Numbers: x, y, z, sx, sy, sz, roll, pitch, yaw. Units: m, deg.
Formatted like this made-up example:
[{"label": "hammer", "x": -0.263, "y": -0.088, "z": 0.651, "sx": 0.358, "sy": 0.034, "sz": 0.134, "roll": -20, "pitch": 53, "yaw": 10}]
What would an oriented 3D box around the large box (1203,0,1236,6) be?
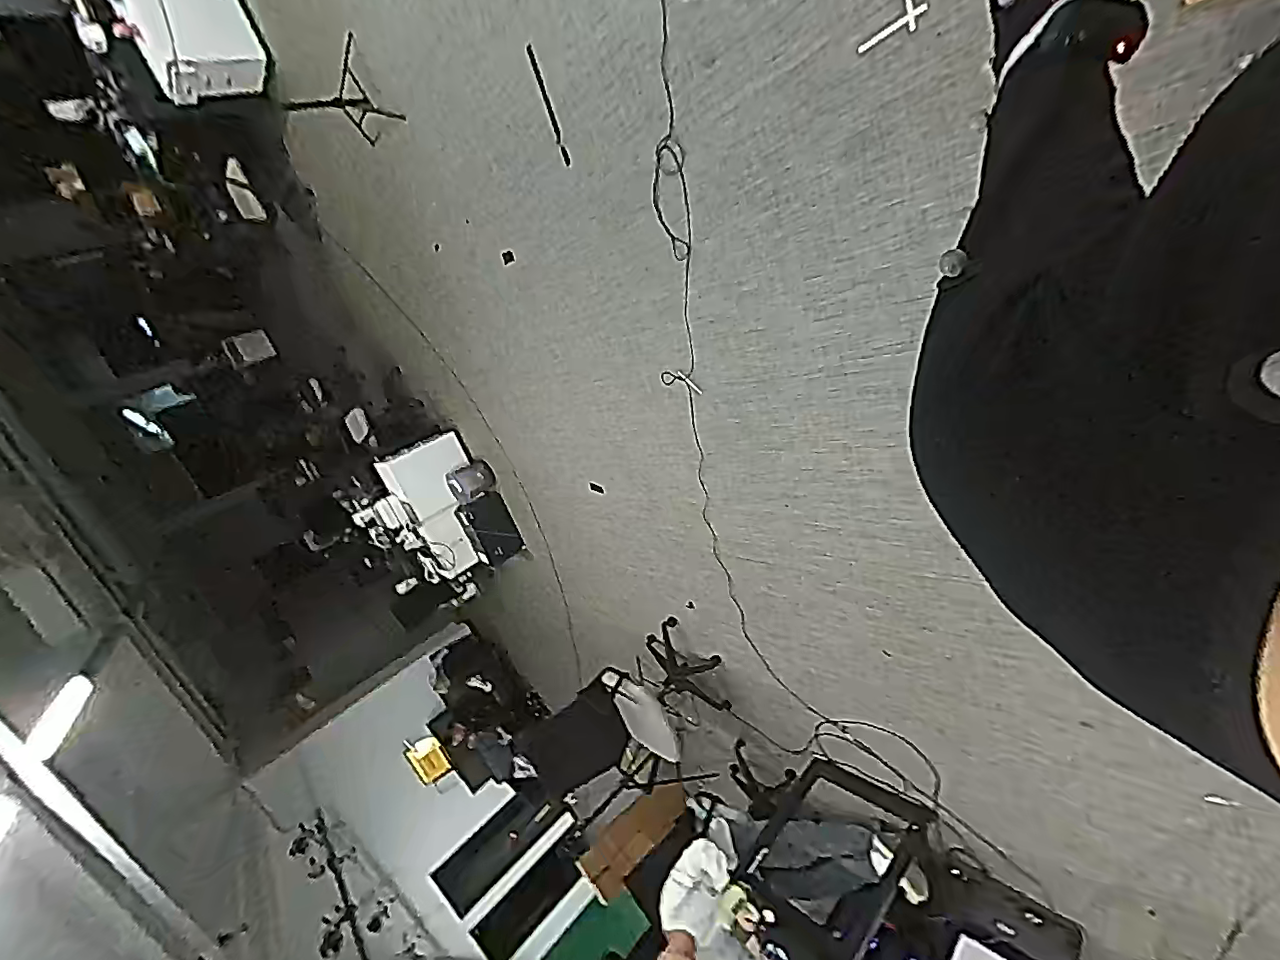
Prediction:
[{"label": "large box", "x": 0.913, "y": -0.820, "z": 0.595, "sx": 0.408, "sy": 0.320, "sz": 0.320, "roll": 8, "pitch": 124, "yaw": 48}]
